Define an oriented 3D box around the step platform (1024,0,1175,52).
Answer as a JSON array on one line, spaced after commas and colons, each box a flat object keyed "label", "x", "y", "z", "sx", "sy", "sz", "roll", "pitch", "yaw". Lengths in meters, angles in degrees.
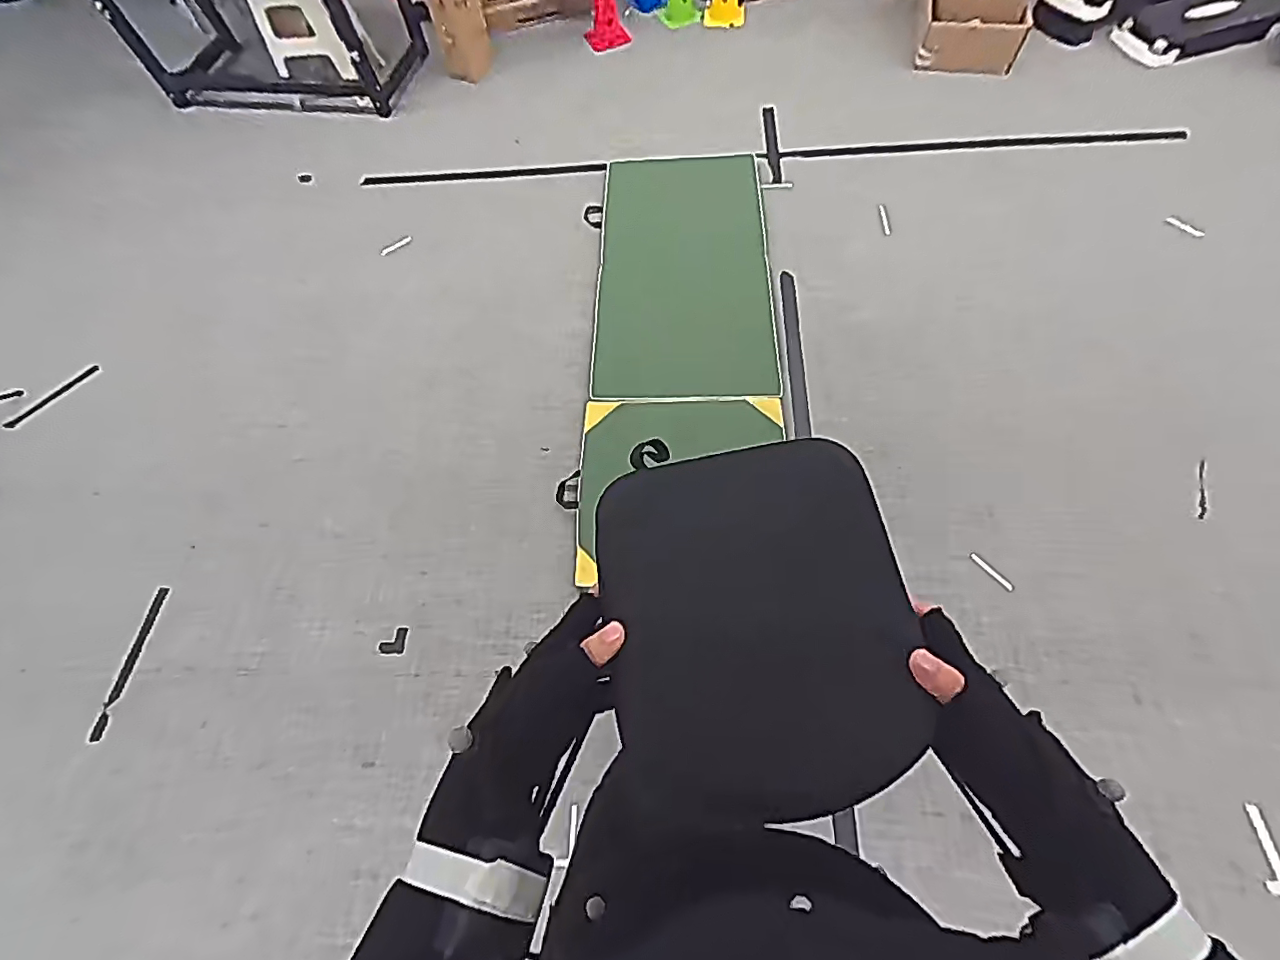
[{"label": "step platform", "x": 2.143, "y": -2.213, "z": 2.460, "sx": 0.684, "sy": 0.204, "sz": 0.286, "roll": -27, "pitch": 65, "yaw": -8}]
